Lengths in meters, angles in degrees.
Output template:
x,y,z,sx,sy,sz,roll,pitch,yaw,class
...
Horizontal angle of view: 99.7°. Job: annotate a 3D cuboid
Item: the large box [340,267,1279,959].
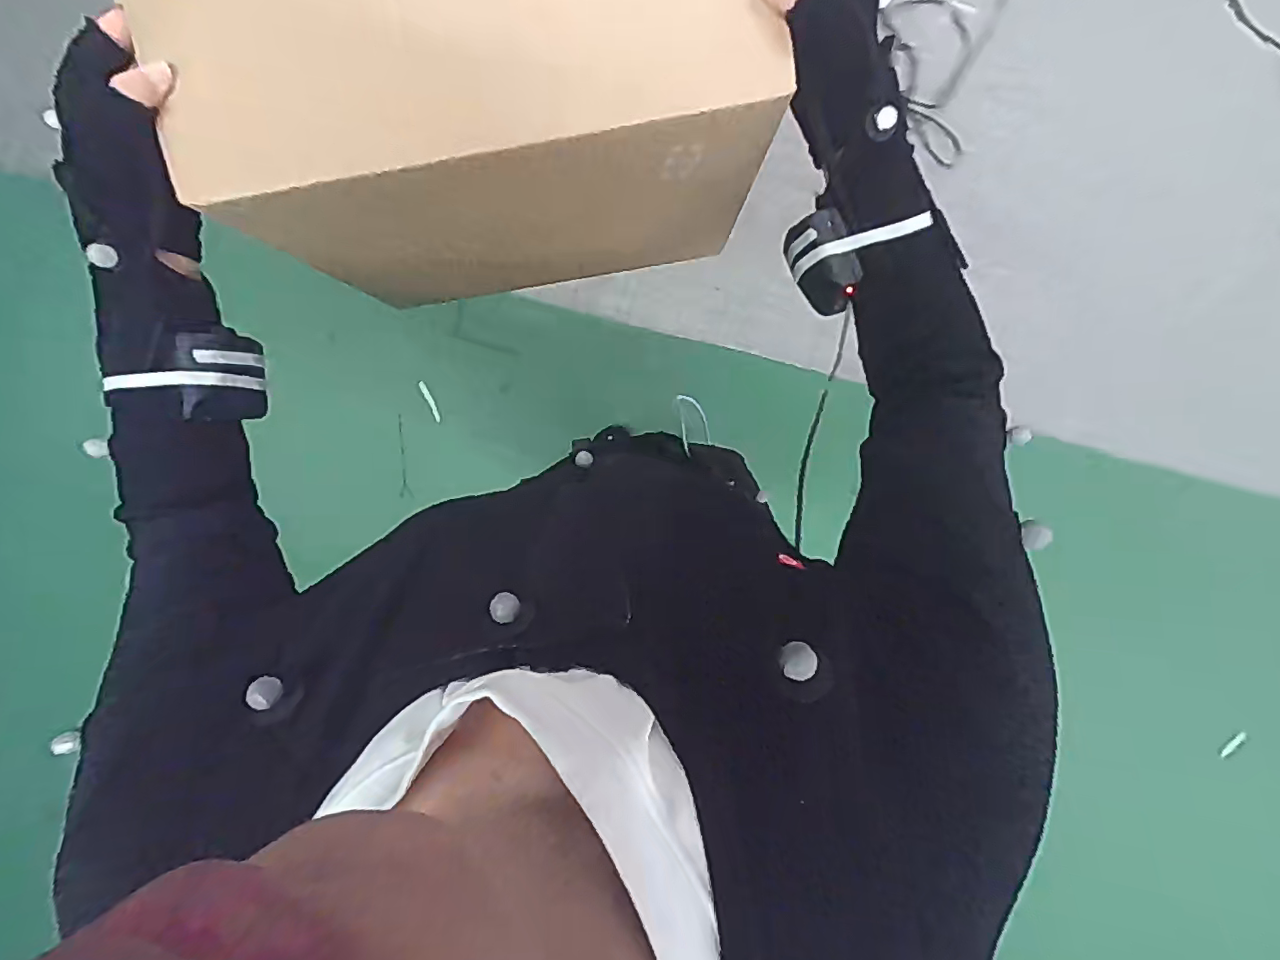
x,y,z,sx,sy,sz,roll,pitch,yaw,class
0.130,0.147,0.312,0.320,0.320,0.408,4,60,35,large box
